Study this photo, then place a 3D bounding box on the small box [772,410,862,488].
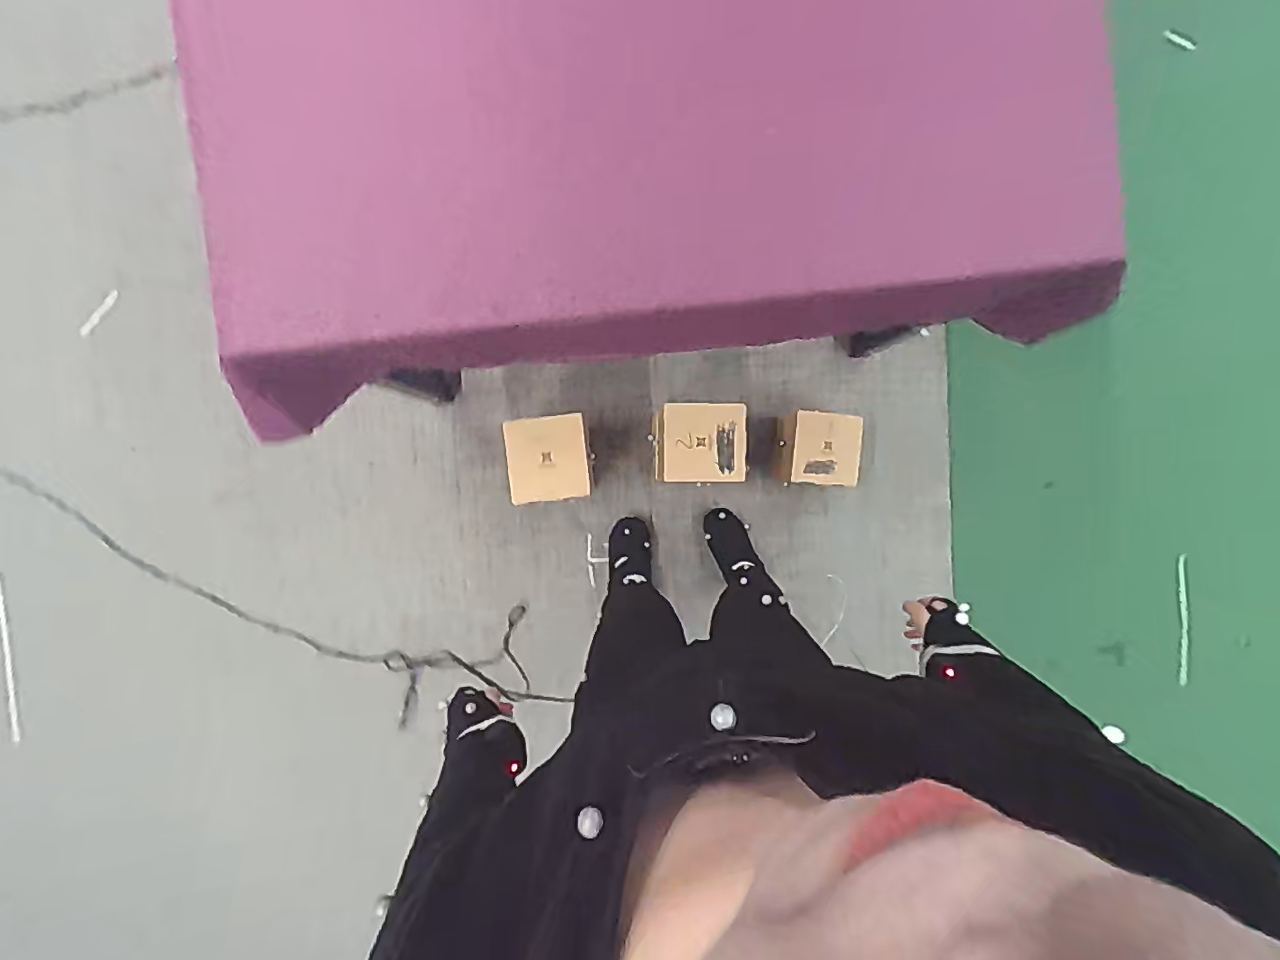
[{"bbox_3d":[0.444,-0.076,1.380,0.168,0.176,0.179,5,91,-2],"label":"small box"}]
